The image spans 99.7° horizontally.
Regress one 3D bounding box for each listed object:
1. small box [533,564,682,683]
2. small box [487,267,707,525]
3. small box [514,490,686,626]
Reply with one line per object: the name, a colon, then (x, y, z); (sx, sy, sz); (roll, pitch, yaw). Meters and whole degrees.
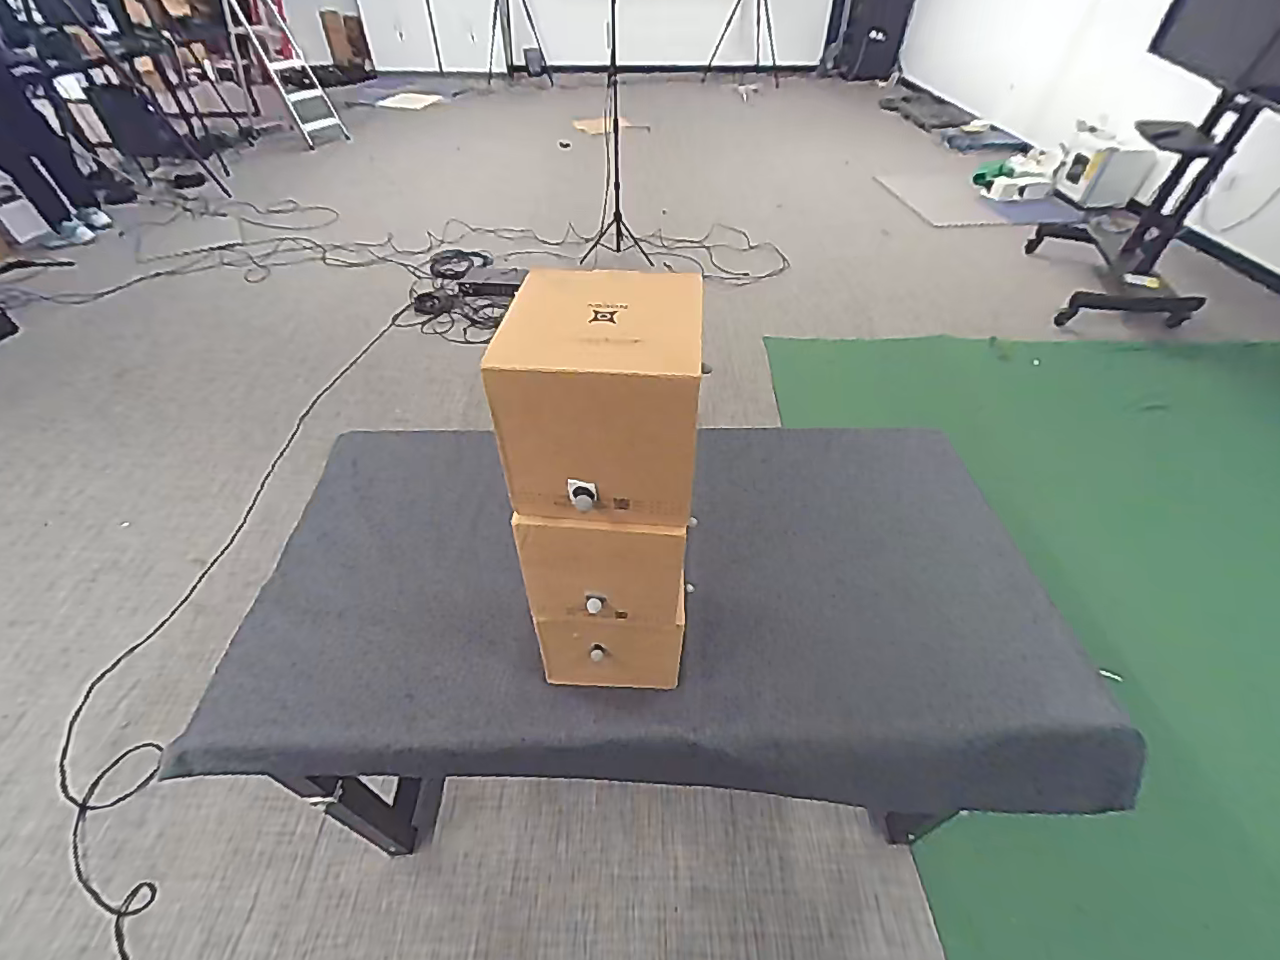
small box: (-0.034, 0.159, 0.733); (0.179, 0.176, 0.168); (2, 45, 2)
small box: (-0.027, -0.080, 0.511); (0.168, 0.176, 0.179); (3, 46, 4)
small box: (-0.032, 0.041, 0.618); (0.168, 0.176, 0.179); (5, 45, 4)
